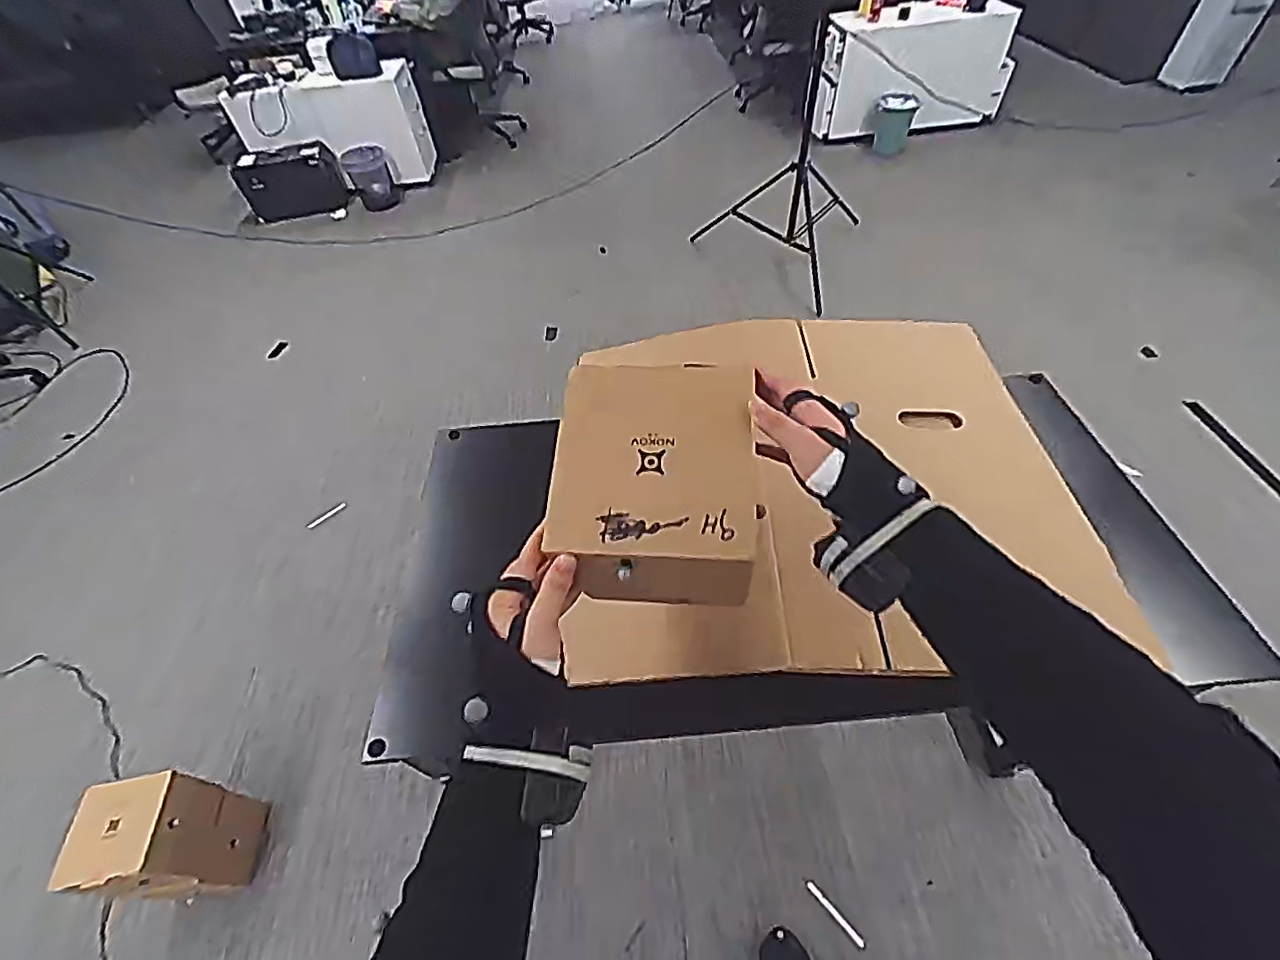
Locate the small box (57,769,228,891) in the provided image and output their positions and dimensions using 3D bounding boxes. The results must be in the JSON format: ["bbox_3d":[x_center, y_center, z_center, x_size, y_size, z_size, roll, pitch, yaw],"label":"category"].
[{"bbox_3d":[-0.994,0.719,1.105,0.168,0.176,0.179,-10,50,-5],"label":"small box"}]

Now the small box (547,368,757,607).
[{"bbox_3d":[0.024,0.013,0.520,0.168,0.176,0.179,0,64,10],"label":"small box"}]

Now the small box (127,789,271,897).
[{"bbox_3d":[-0.981,0.826,1.227,0.168,0.176,0.179,-9,52,-2],"label":"small box"}]
